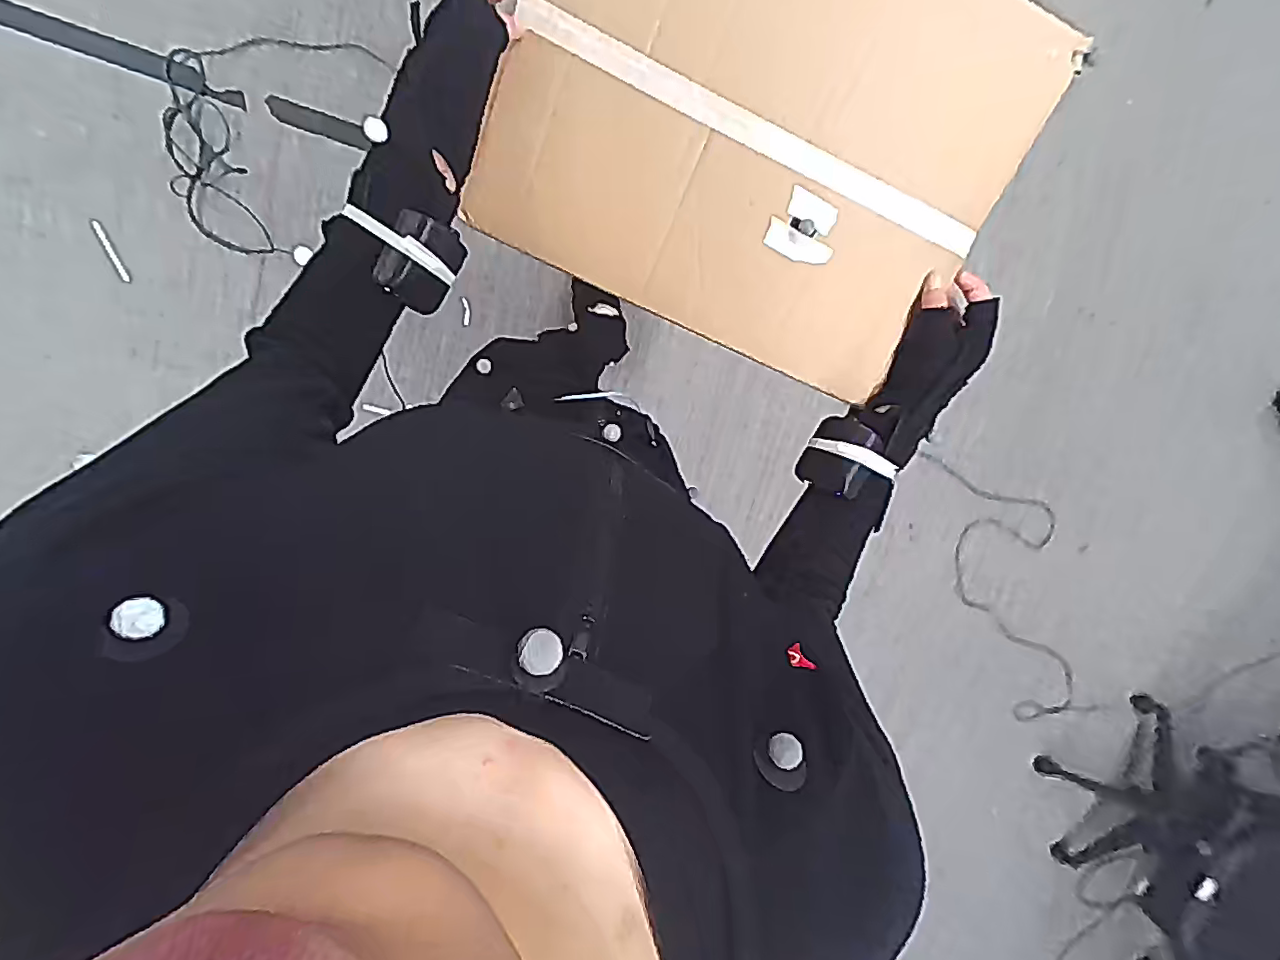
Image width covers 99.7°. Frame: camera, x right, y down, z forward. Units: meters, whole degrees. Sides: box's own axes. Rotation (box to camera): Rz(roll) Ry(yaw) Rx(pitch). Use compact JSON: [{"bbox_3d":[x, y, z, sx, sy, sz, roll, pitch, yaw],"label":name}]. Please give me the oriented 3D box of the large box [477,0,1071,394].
[{"bbox_3d":[0.096,-0.336,0.580,0.408,0.320,0.320,22,110,-9],"label":"large box"}]
